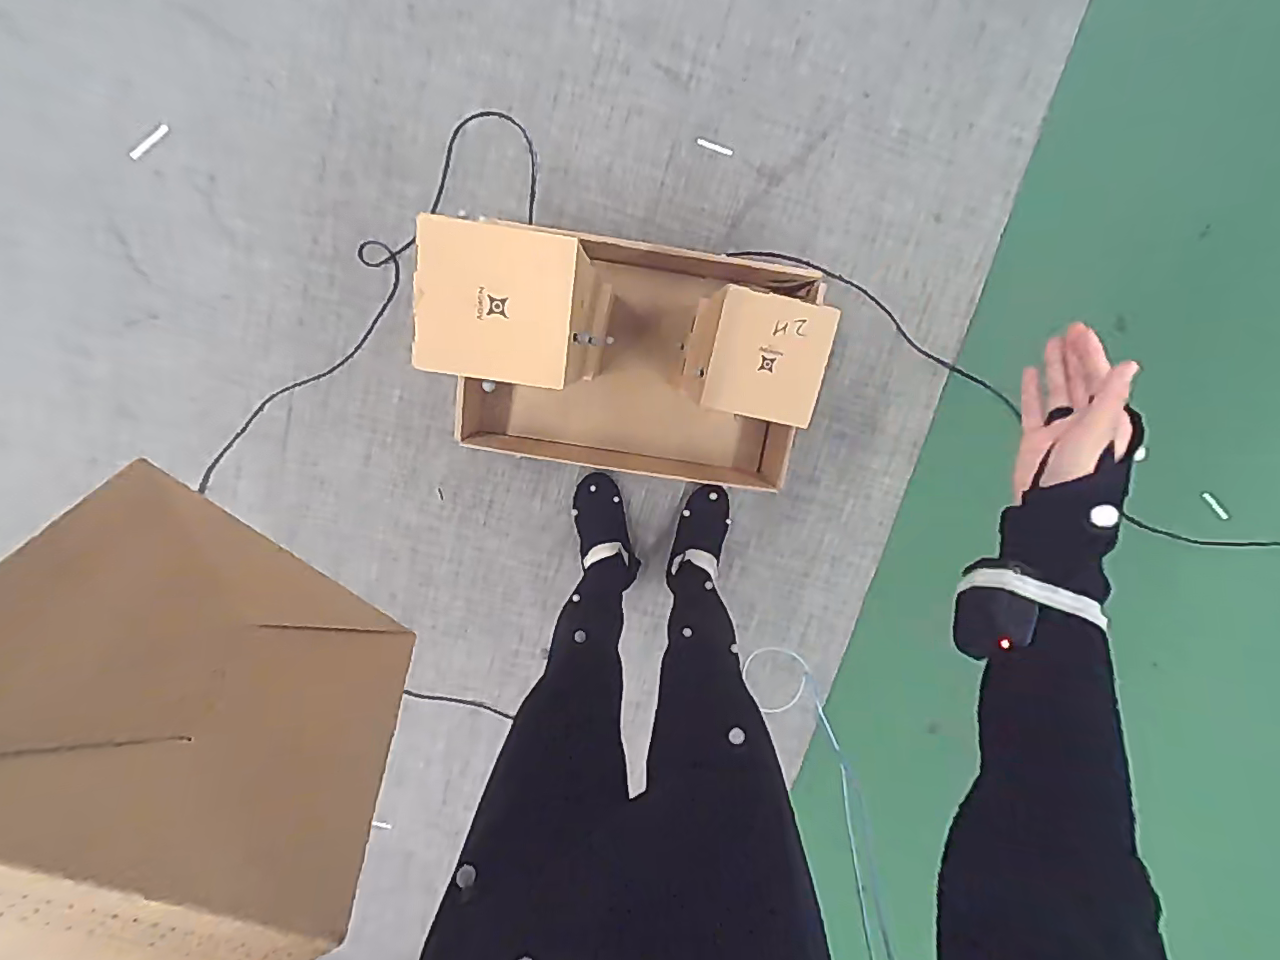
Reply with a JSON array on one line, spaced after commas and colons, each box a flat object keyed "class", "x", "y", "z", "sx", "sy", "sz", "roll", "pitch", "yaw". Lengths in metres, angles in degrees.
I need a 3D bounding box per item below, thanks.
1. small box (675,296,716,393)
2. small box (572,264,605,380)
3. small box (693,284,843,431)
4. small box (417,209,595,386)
[{"class": "small box", "x": 0.169, "y": -0.230, "z": 1.007, "sx": 0.179, "sy": 0.176, "sz": 0.168, "roll": 13, "pitch": 102, "yaw": -3}, {"class": "small box", "x": -0.157, "y": -0.256, "z": 0.830, "sx": 0.179, "sy": 0.176, "sz": 0.168, "roll": 13, "pitch": 104, "yaw": -4}, {"class": "small box", "x": 0.185, "y": -0.189, "z": 0.847, "sx": 0.168, "sy": 0.176, "sz": 0.179, "roll": 13, "pitch": 101, "yaw": -5}, {"class": "small box", "x": -0.155, "y": -0.218, "z": 0.672, "sx": 0.179, "sy": 0.176, "sz": 0.168, "roll": 9, "pitch": 104, "yaw": -2}]
